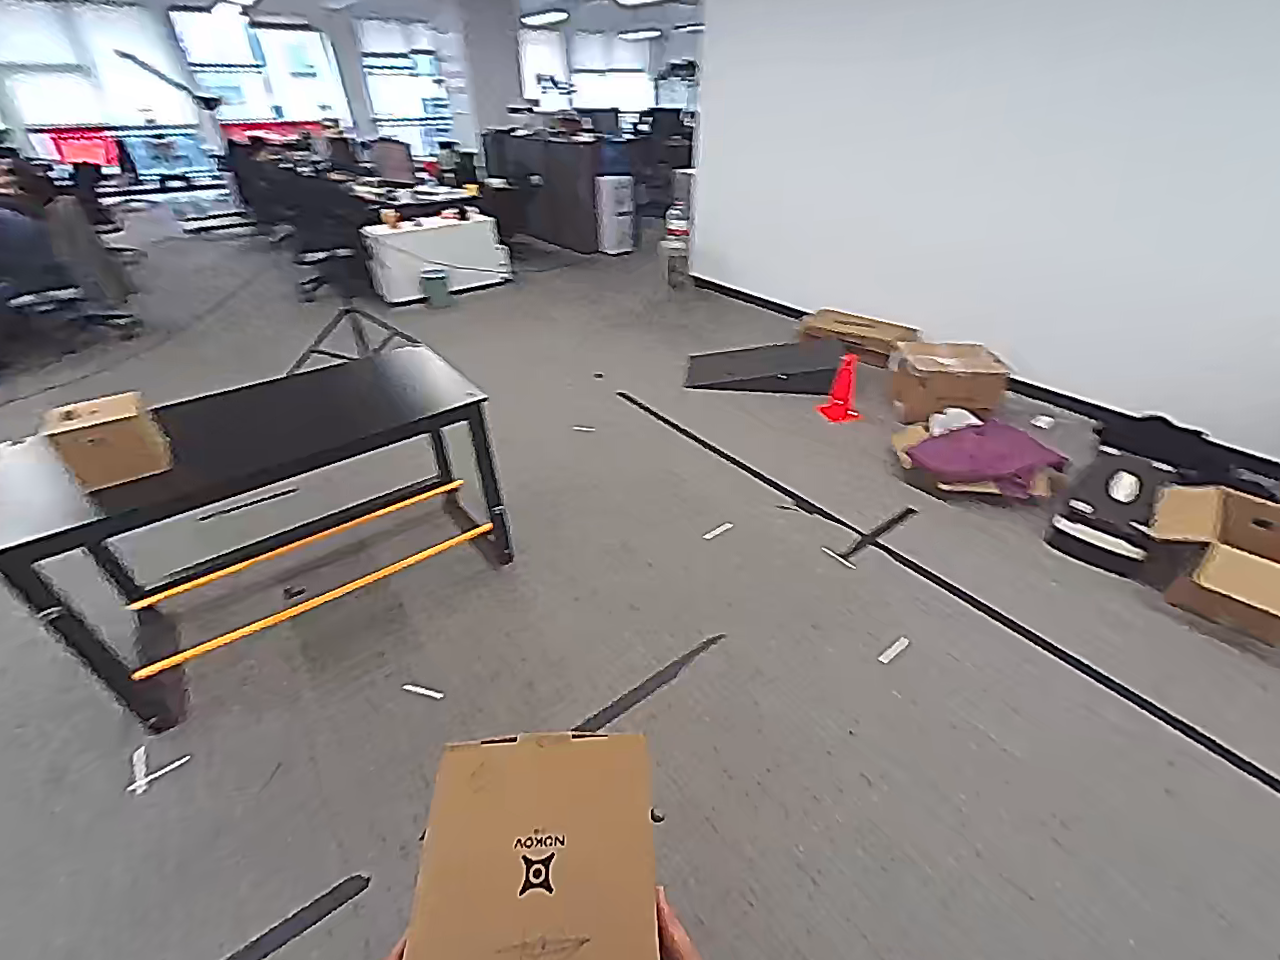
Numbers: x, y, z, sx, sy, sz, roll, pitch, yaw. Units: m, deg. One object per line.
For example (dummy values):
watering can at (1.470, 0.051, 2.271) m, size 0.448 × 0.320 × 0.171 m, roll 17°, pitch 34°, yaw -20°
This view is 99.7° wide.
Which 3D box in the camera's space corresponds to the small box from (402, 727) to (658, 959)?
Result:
small box at (-0.075, 0.325, 0.439) m, size 0.168 × 0.176 × 0.179 m, roll -3°, pitch 46°, yaw -3°

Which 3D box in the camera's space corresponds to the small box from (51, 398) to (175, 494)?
small box at (-1.352, -0.088, 1.401) m, size 0.179 × 0.176 × 0.168 m, roll -23°, pitch 41°, yaw -30°
